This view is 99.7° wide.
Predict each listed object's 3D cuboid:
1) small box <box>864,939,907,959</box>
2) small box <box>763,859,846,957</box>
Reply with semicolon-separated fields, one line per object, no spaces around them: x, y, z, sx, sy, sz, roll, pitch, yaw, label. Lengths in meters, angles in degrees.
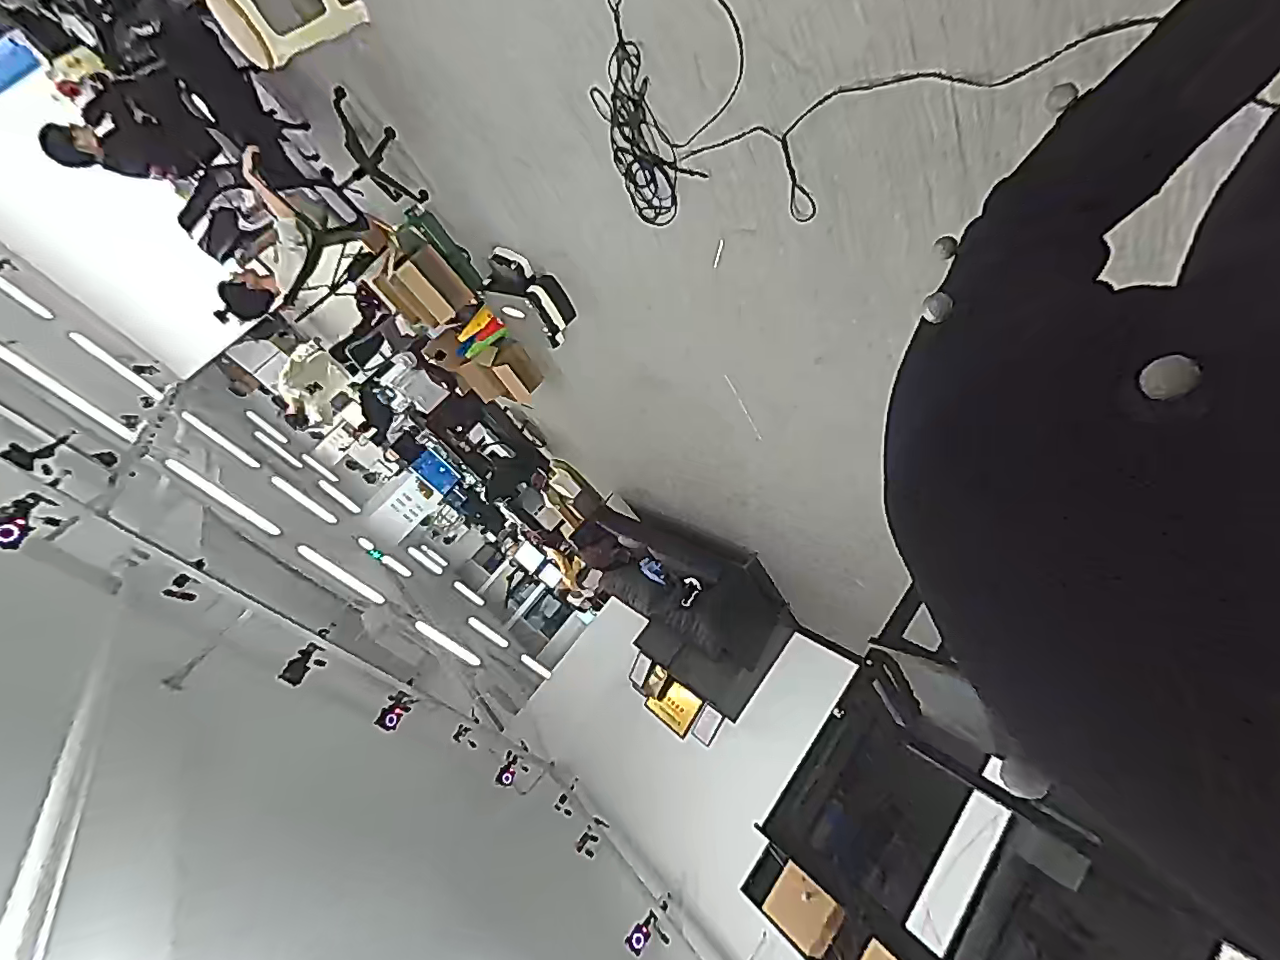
0.690;1.382;1.446;0.179;0.176;0.168;49;162;-31;small box
0.515;1.322;1.675;0.168;0.176;0.179;23;156;45;small box
